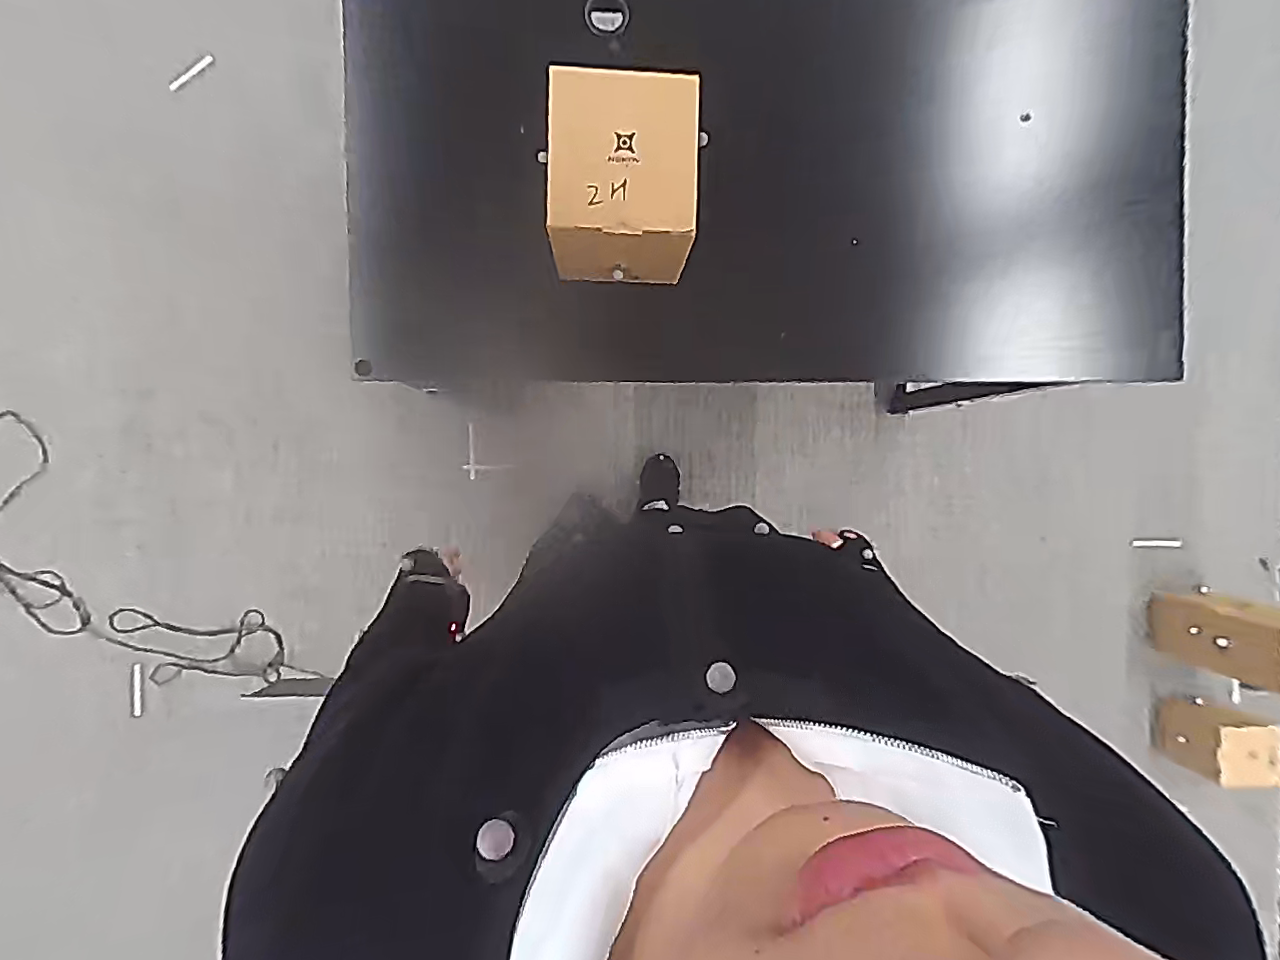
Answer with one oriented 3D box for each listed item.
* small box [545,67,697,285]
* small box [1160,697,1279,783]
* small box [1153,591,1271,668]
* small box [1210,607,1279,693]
[{"bbox_3d":[-0.026,-0.363,0.673,0.168,0.176,0.179,1,91,-3],"label":"small box"},{"bbox_3d":[1.634,0.731,1.532,0.179,0.176,0.168,0,92,-2],"label":"small box"},{"bbox_3d":[1.597,0.413,1.518,0.168,0.176,0.179,-2,92,-3],"label":"small box"},{"bbox_3d":[1.604,0.421,1.356,0.179,0.176,0.168,-4,90,-2],"label":"small box"}]
